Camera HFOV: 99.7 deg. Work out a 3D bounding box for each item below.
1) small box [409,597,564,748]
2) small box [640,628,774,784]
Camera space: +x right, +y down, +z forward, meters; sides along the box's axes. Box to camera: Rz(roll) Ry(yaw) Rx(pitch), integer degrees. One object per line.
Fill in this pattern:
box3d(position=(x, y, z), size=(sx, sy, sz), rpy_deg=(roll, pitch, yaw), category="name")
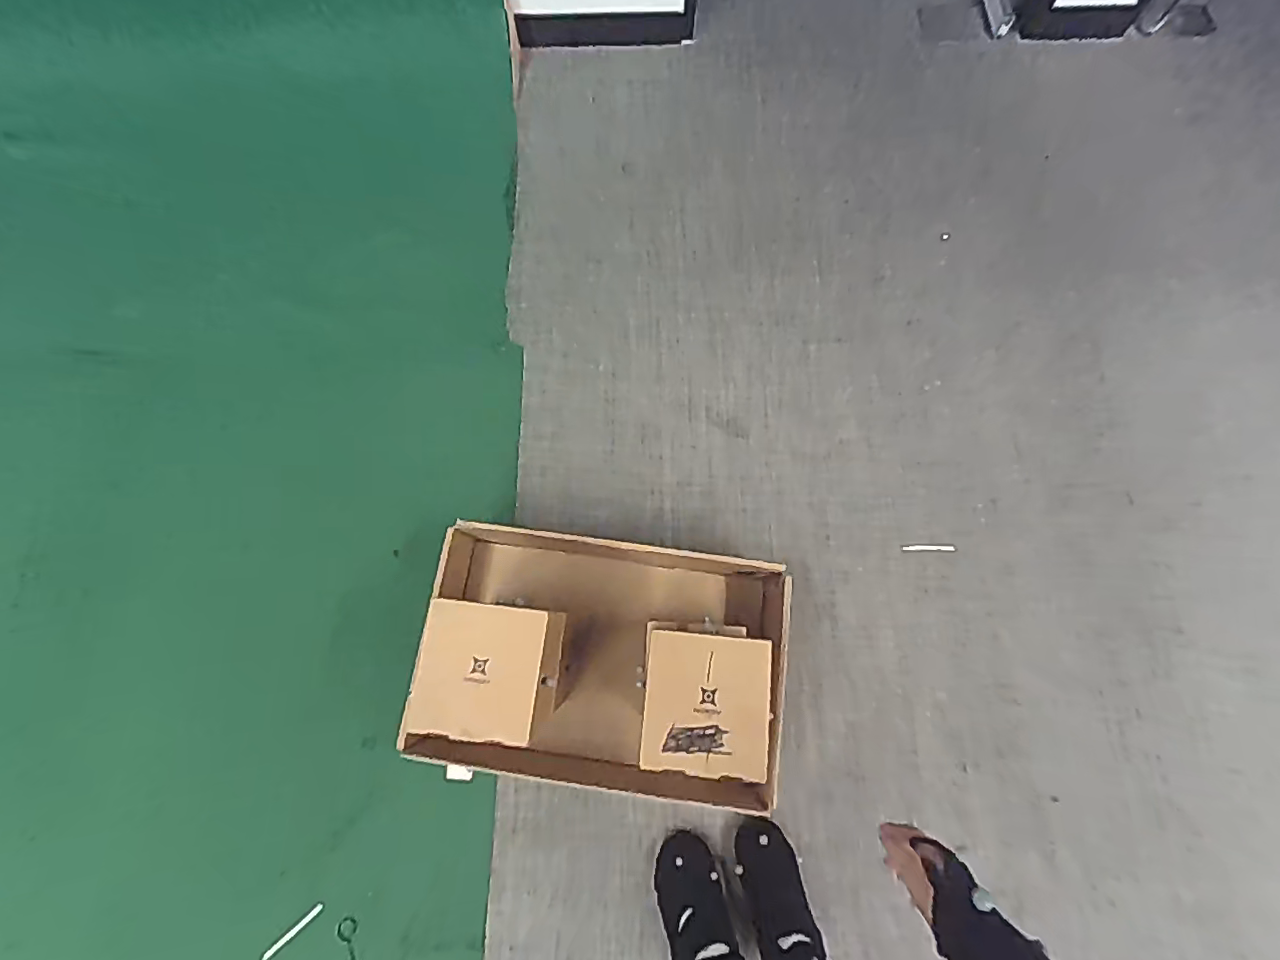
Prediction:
box3d(position=(-0.212, 0.274, 0.802), size=(0.168, 0.176, 0.179), rpy_deg=(7, 77, 1), category="small box")
box3d(position=(0.092, 0.315, 0.786), size=(0.168, 0.176, 0.179), rpy_deg=(6, 75, 2), category="small box")
